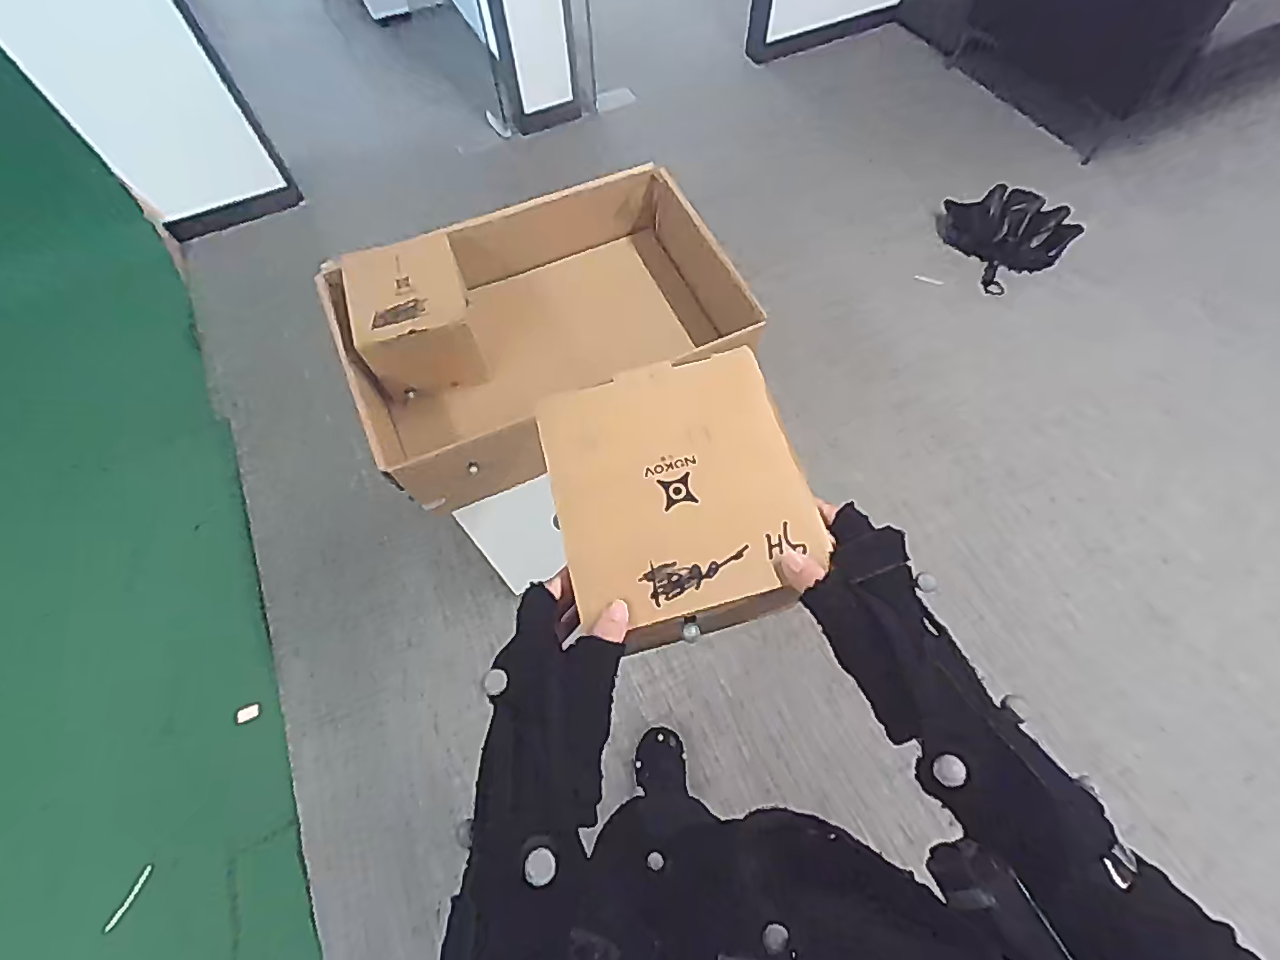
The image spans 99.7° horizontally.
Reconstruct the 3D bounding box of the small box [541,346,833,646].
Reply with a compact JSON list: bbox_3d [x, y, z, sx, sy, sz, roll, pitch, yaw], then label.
[{"bbox_3d":[0.029,0.025,0.443,0.168,0.176,0.179,-15,69,-1],"label":"small box"}]
